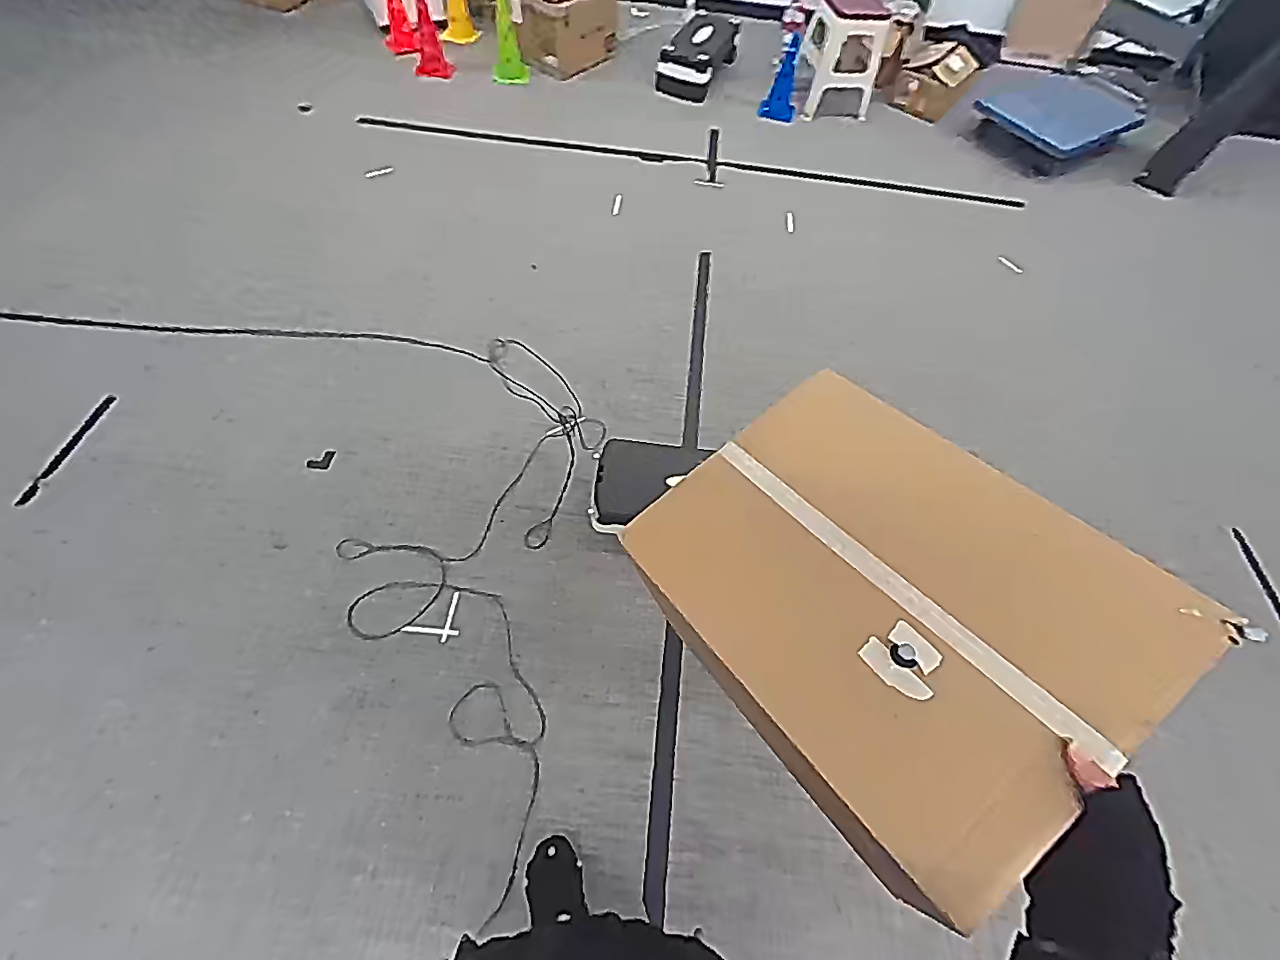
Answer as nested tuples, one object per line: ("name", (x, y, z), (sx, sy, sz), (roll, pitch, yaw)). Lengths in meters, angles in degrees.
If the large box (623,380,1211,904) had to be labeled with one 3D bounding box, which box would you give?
("large box", (0.246, 0.164, 0.622), (0.320, 0.320, 0.408), (-39, 55, -9))
